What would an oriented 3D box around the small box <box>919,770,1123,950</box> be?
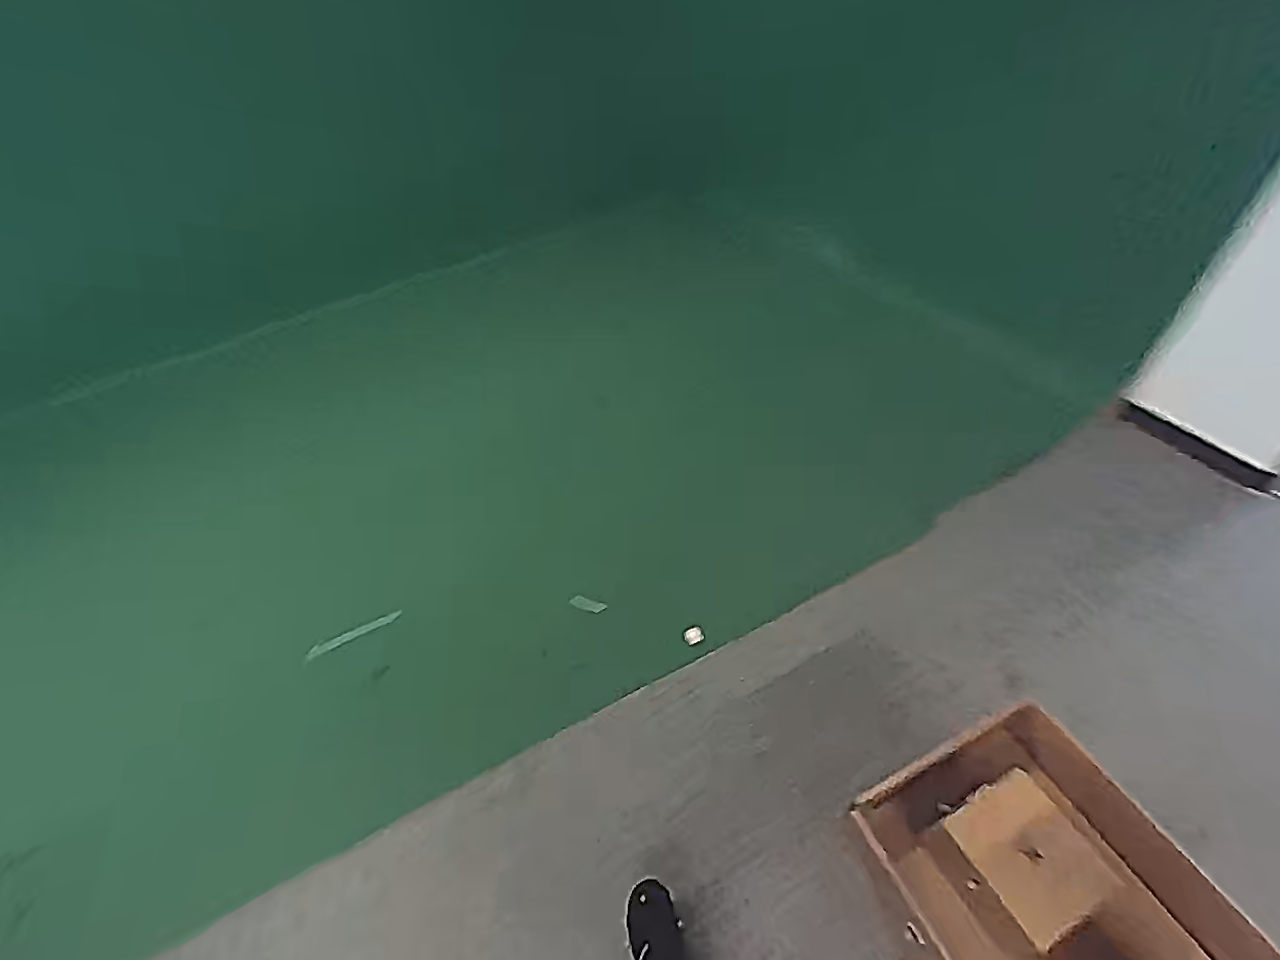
[{"bbox_3d":[0.586,0.606,0.865,0.168,0.176,0.179,-24,52,-11],"label":"small box"}]
